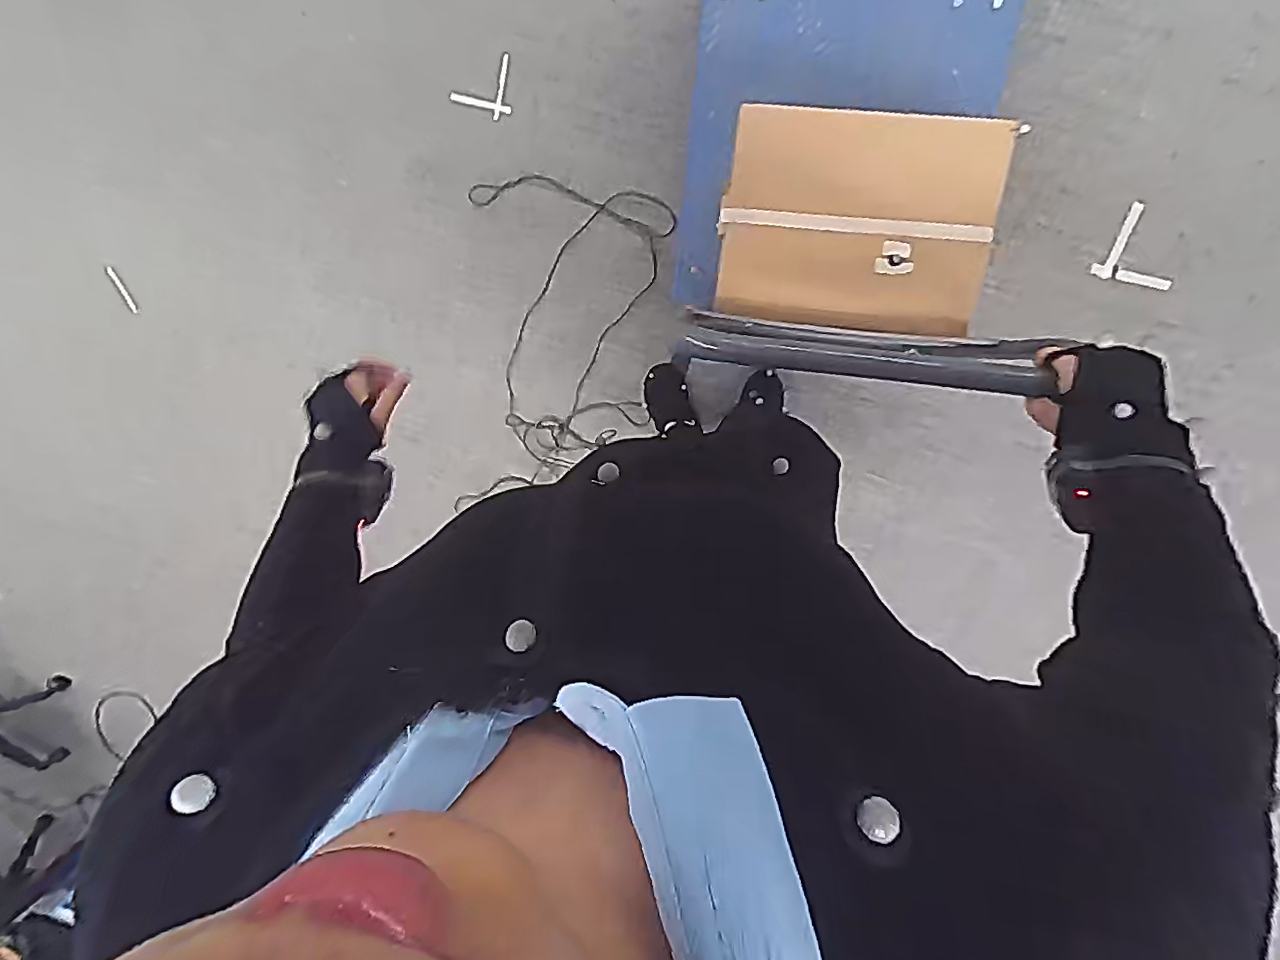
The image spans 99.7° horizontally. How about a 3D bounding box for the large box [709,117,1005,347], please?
[{"bbox_3d":[0.343,-0.421,0.992,0.408,0.320,0.320,8,106,4],"label":"large box"}]
